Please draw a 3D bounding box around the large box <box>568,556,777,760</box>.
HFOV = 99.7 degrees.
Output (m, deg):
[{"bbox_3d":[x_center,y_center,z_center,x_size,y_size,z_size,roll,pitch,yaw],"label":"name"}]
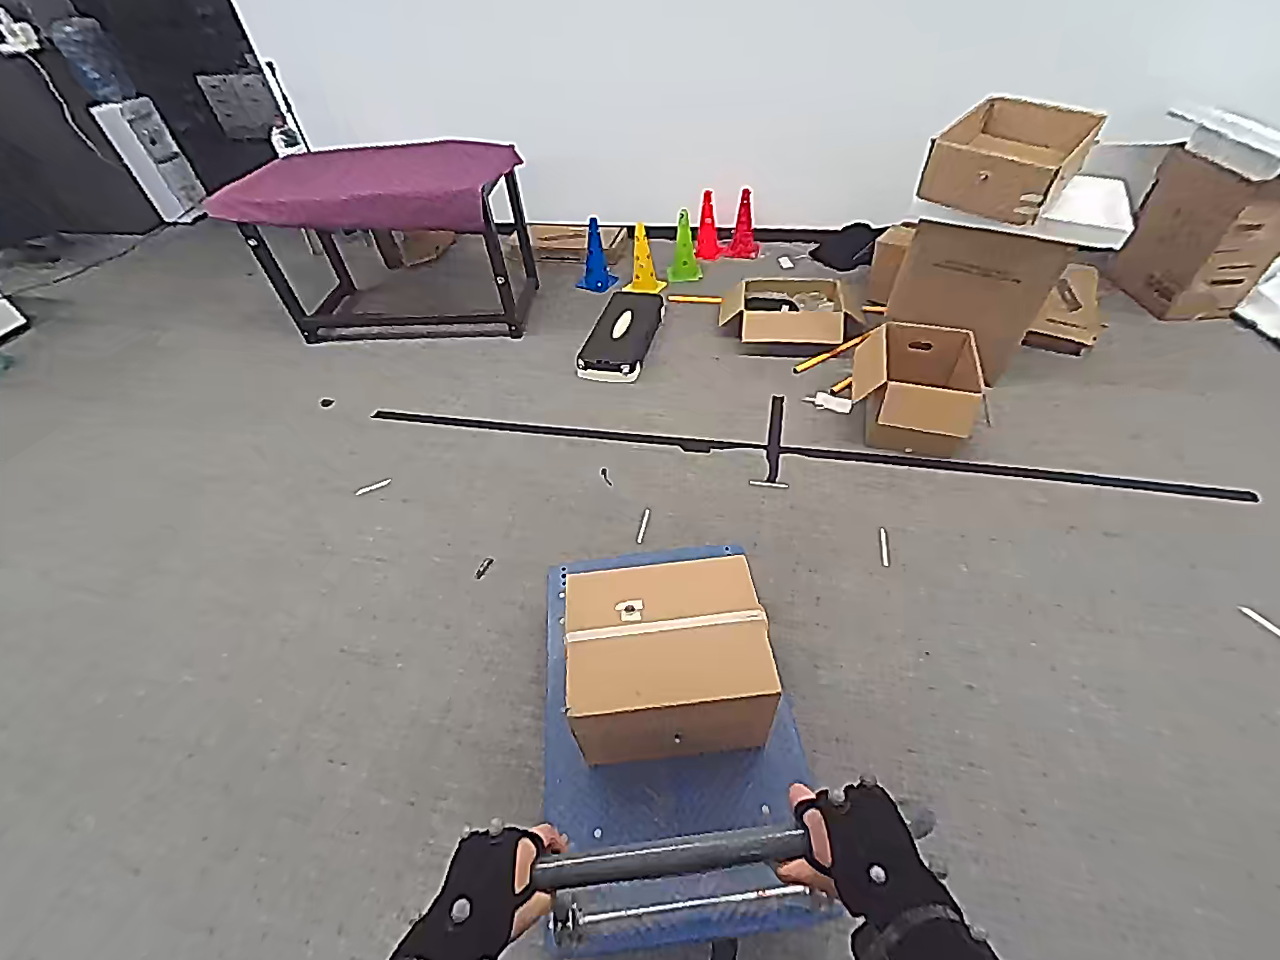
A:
[{"bbox_3d":[0.064,0.409,1.233,0.408,0.320,0.320,-8,46,0],"label":"large box"}]
